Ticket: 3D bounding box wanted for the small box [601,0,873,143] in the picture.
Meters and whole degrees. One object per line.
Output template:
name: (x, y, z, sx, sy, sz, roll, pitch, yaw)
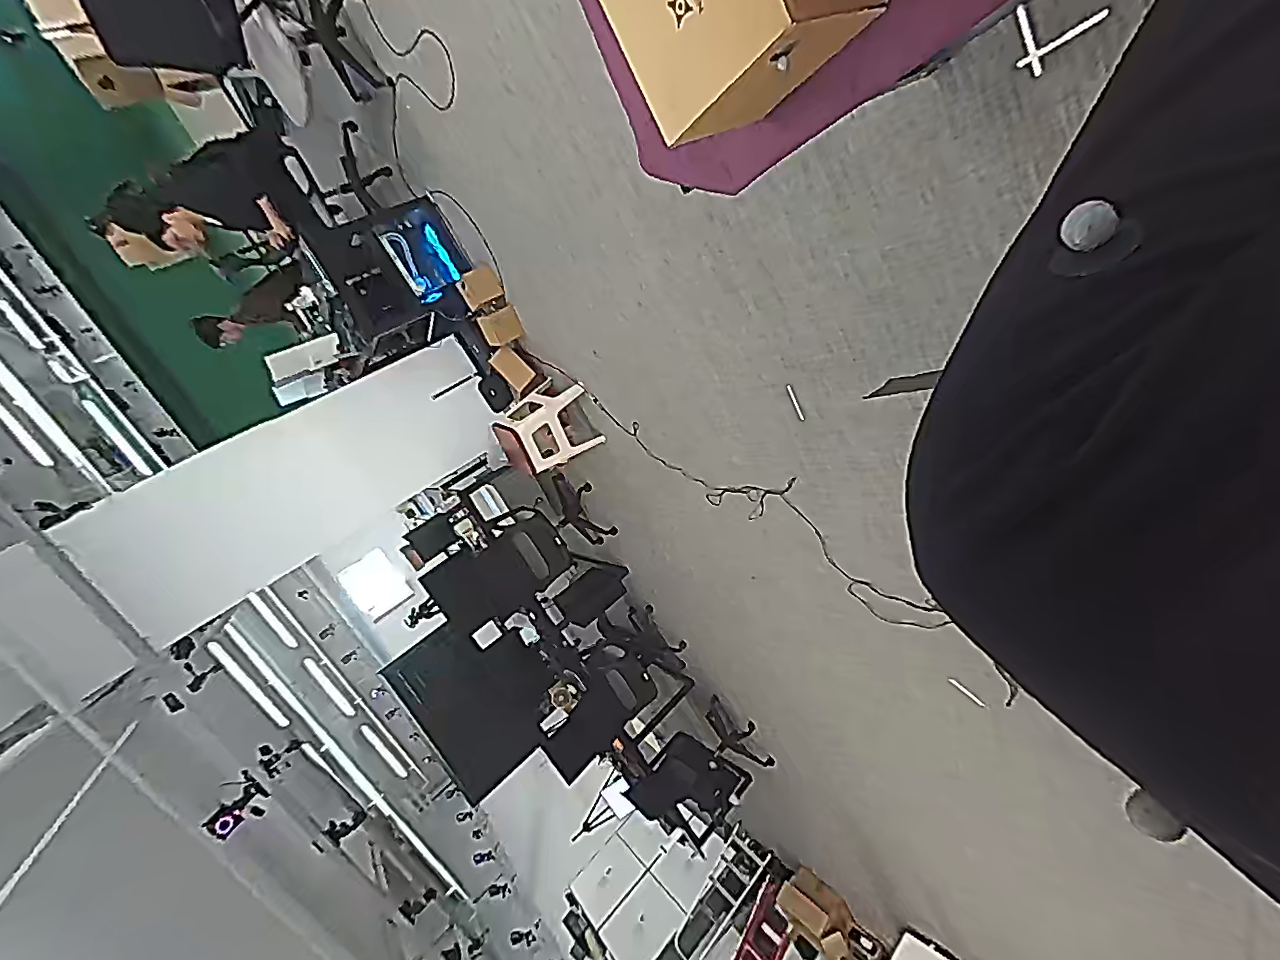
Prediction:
small box: (0.096, -0.479, 0.536, 0.179, 0.176, 0.168, -9, 114, 57)
